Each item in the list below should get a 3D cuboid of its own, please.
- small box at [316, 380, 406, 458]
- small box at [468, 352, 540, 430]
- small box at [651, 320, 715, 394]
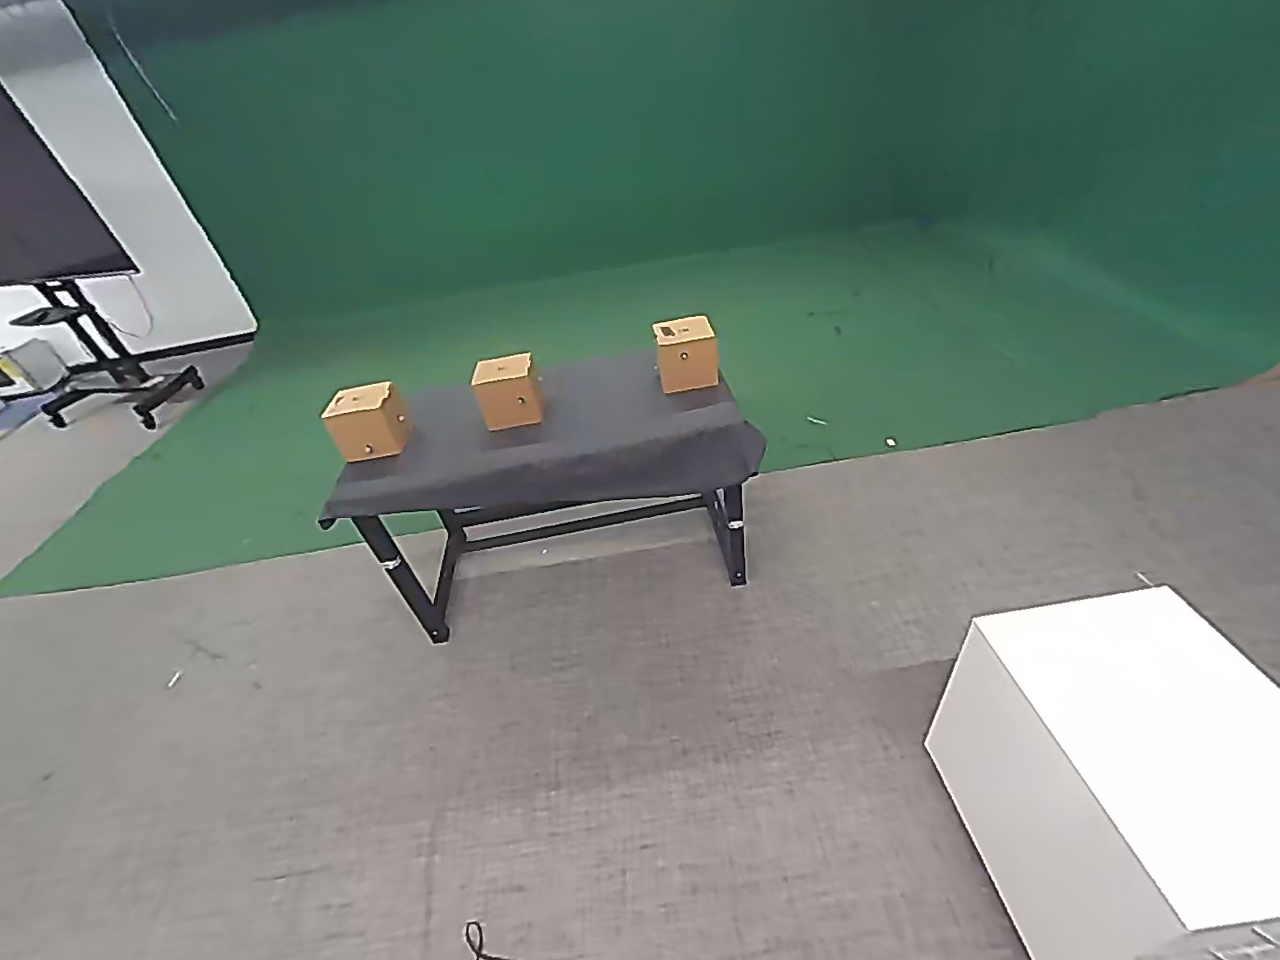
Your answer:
[{"bbox_3d":[-0.846,-0.188,1.662,0.179,0.176,0.168,-8,37,-2],"label":"small box"},{"bbox_3d":[-0.417,-0.277,1.696,0.179,0.176,0.168,-10,37,0],"label":"small box"},{"bbox_3d":[0.138,-0.388,1.719,0.179,0.176,0.168,-8,38,0],"label":"small box"}]
